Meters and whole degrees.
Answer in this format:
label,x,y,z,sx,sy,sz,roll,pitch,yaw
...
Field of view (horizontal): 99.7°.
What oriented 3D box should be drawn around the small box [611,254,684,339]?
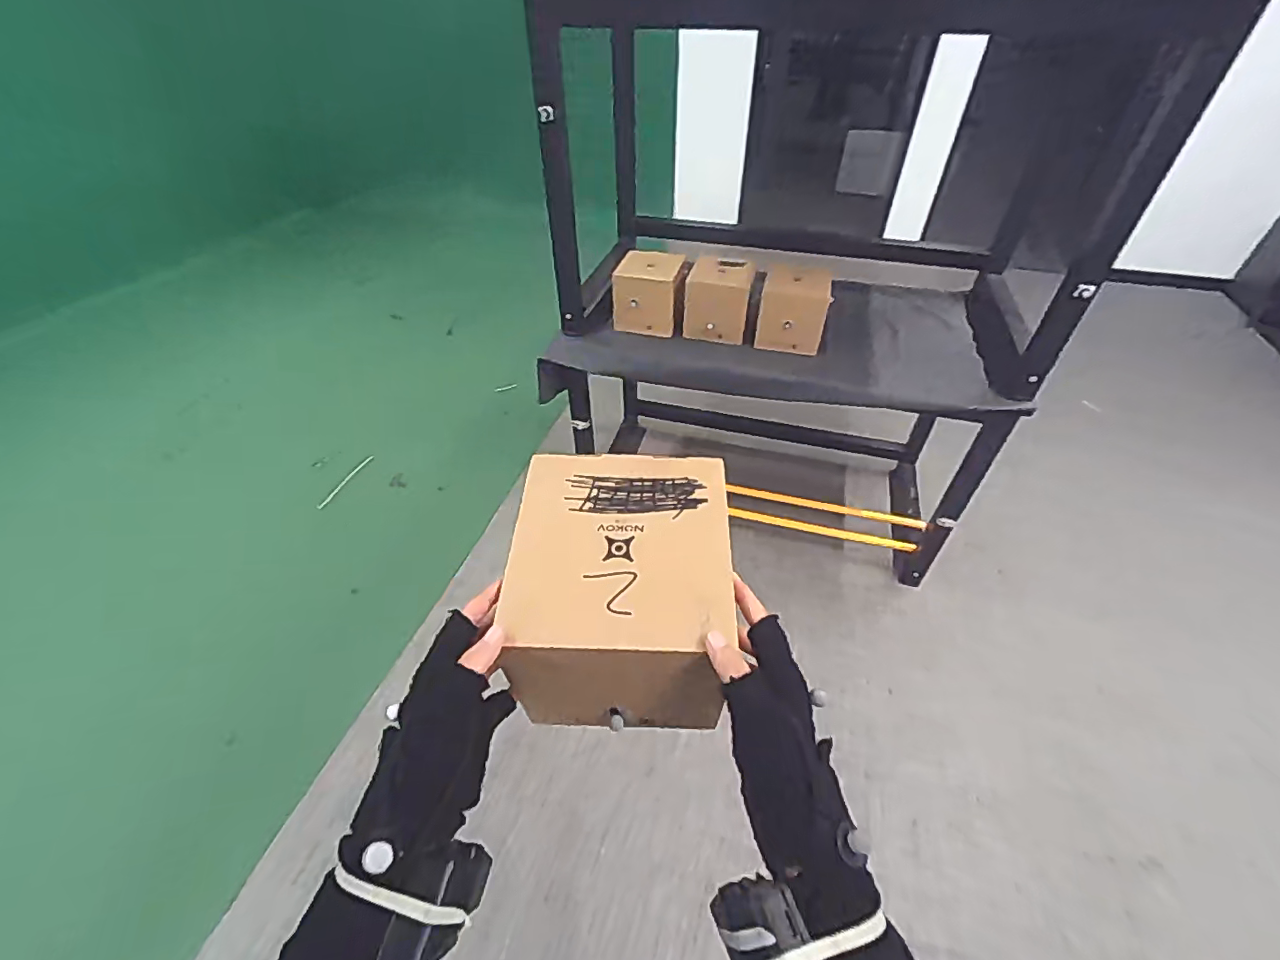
label,x,y,z,sx,sy,sz,roll,pitch,yaw
small box,0.025,-0.514,1.519,0.168,0.176,0.179,10,44,11
